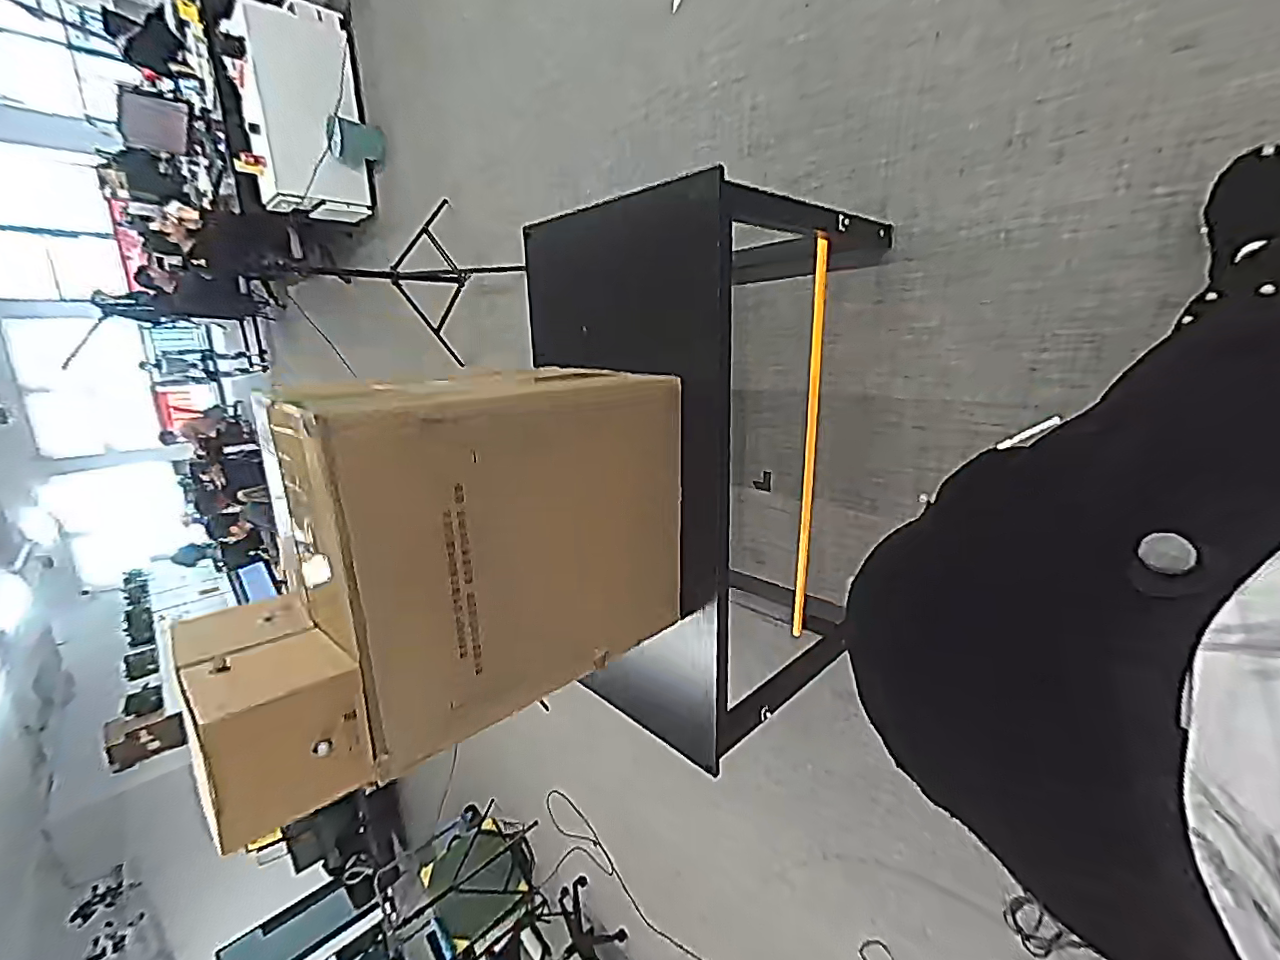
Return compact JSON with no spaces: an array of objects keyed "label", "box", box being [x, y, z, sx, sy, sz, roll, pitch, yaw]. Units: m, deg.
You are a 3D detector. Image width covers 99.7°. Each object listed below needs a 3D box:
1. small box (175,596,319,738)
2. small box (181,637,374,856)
[{"label":"small box","box":[-0.594,0.305,0.838,0.168,0.176,0.179,15,110,46]},{"label":"small box","box":[-0.470,0.325,0.707,0.179,0.176,0.168,8,105,43]}]
